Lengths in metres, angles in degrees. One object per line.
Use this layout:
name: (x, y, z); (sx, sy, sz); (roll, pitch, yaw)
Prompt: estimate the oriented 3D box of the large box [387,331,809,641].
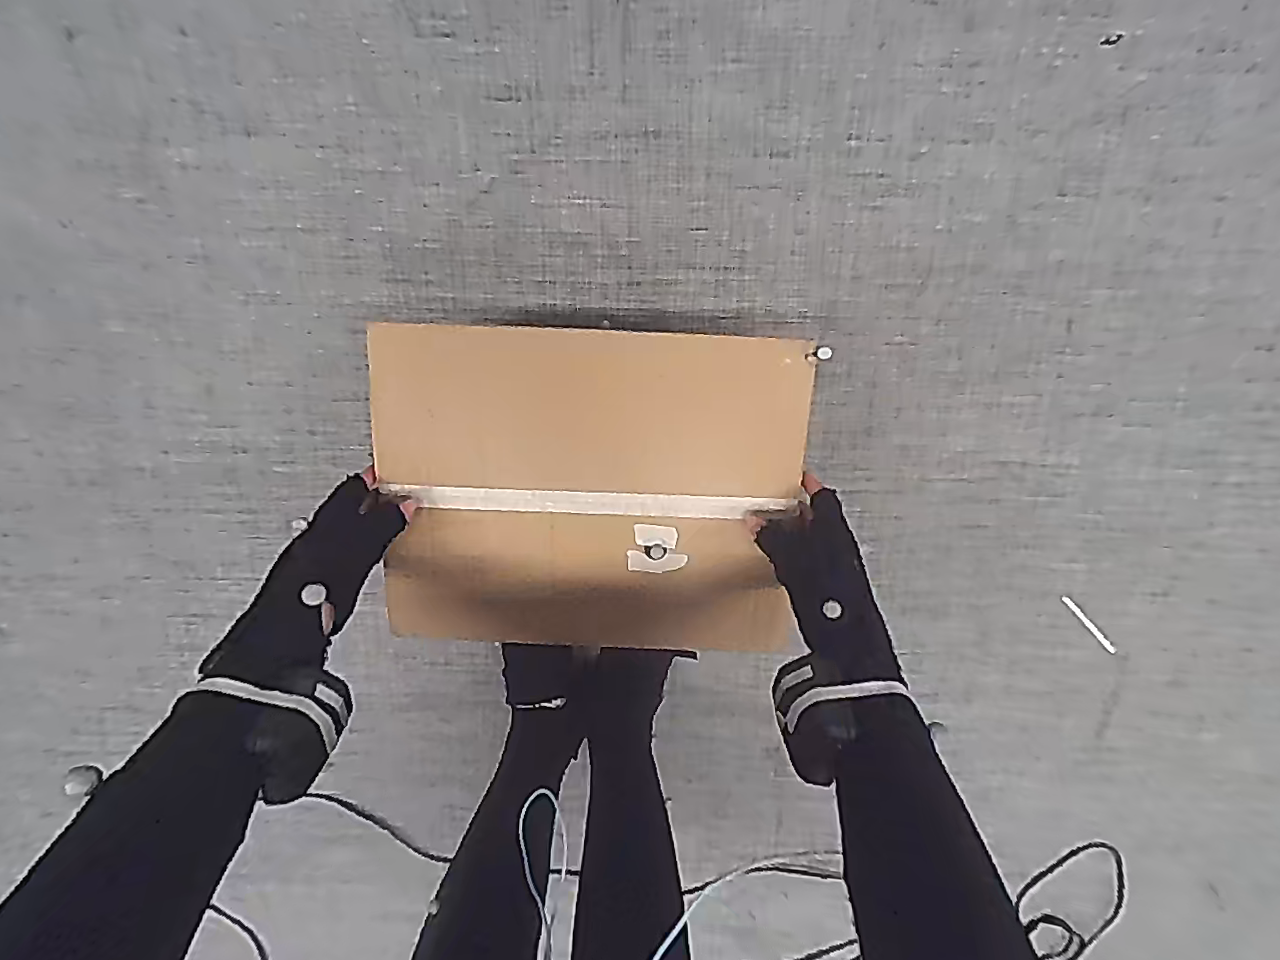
large box: (-0.043, -0.014, 0.680); (0.408, 0.320, 0.320); (2, 103, 0)
